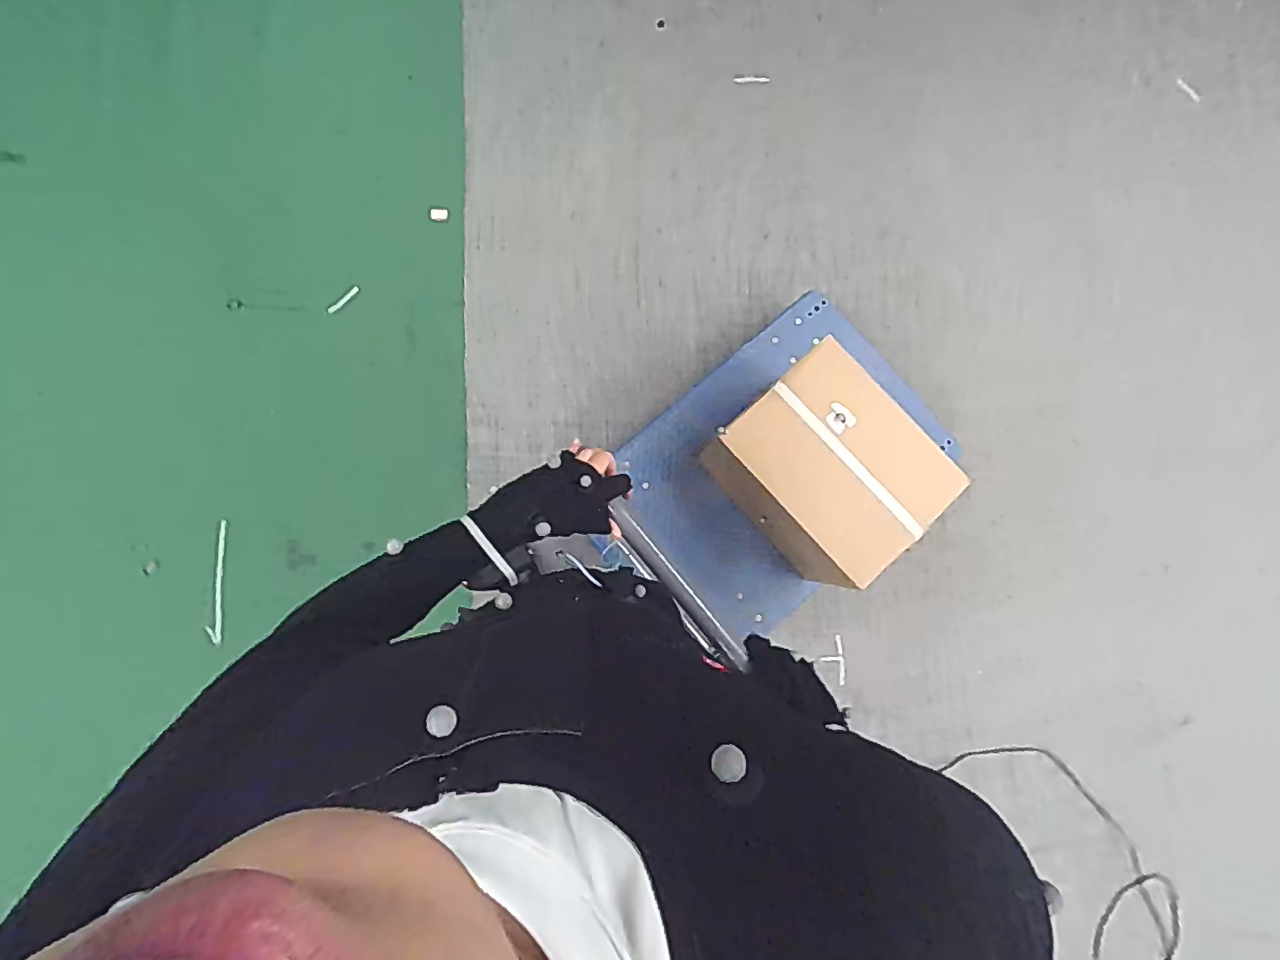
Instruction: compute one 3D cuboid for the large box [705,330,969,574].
[{"bbox_3d":[0.404,-0.045,1.209,0.320,0.320,0.408,-43,86,-6],"label":"large box"}]
